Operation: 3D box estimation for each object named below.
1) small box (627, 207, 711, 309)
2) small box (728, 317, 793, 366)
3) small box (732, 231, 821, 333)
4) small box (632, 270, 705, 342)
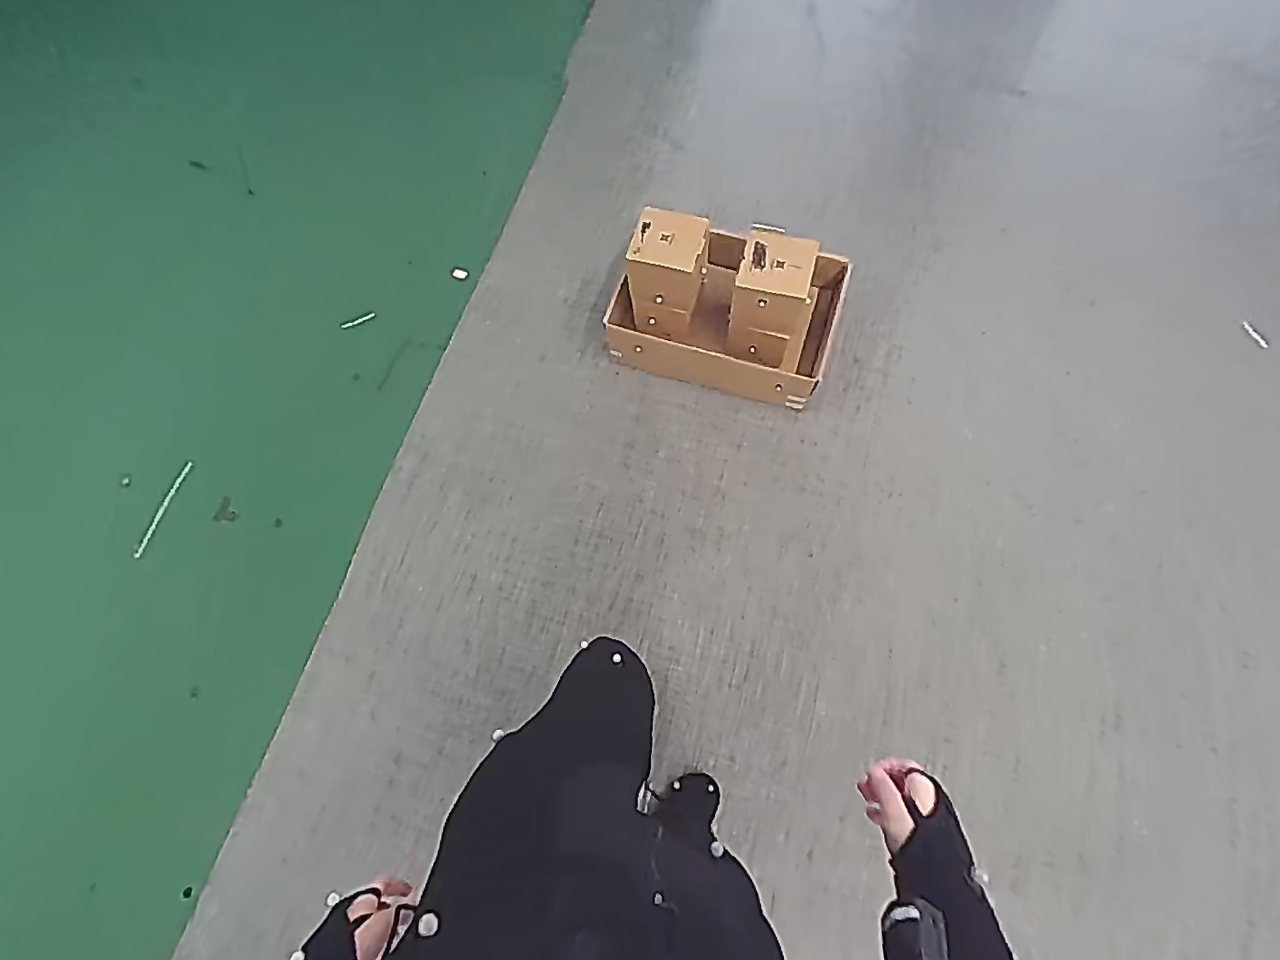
[{"bbox_3d":[0.077,-0.576,1.422,0.179,0.176,0.168,16,74,8],"label":"small box"},{"bbox_3d":[0.353,-0.448,1.532,0.168,0.176,0.179,19,75,10],"label":"small box"},{"bbox_3d":[0.339,-0.497,1.375,0.179,0.176,0.168,15,76,9],"label":"small box"},{"bbox_3d":[0.089,-0.531,1.580,0.168,0.176,0.179,17,74,9],"label":"small box"}]
